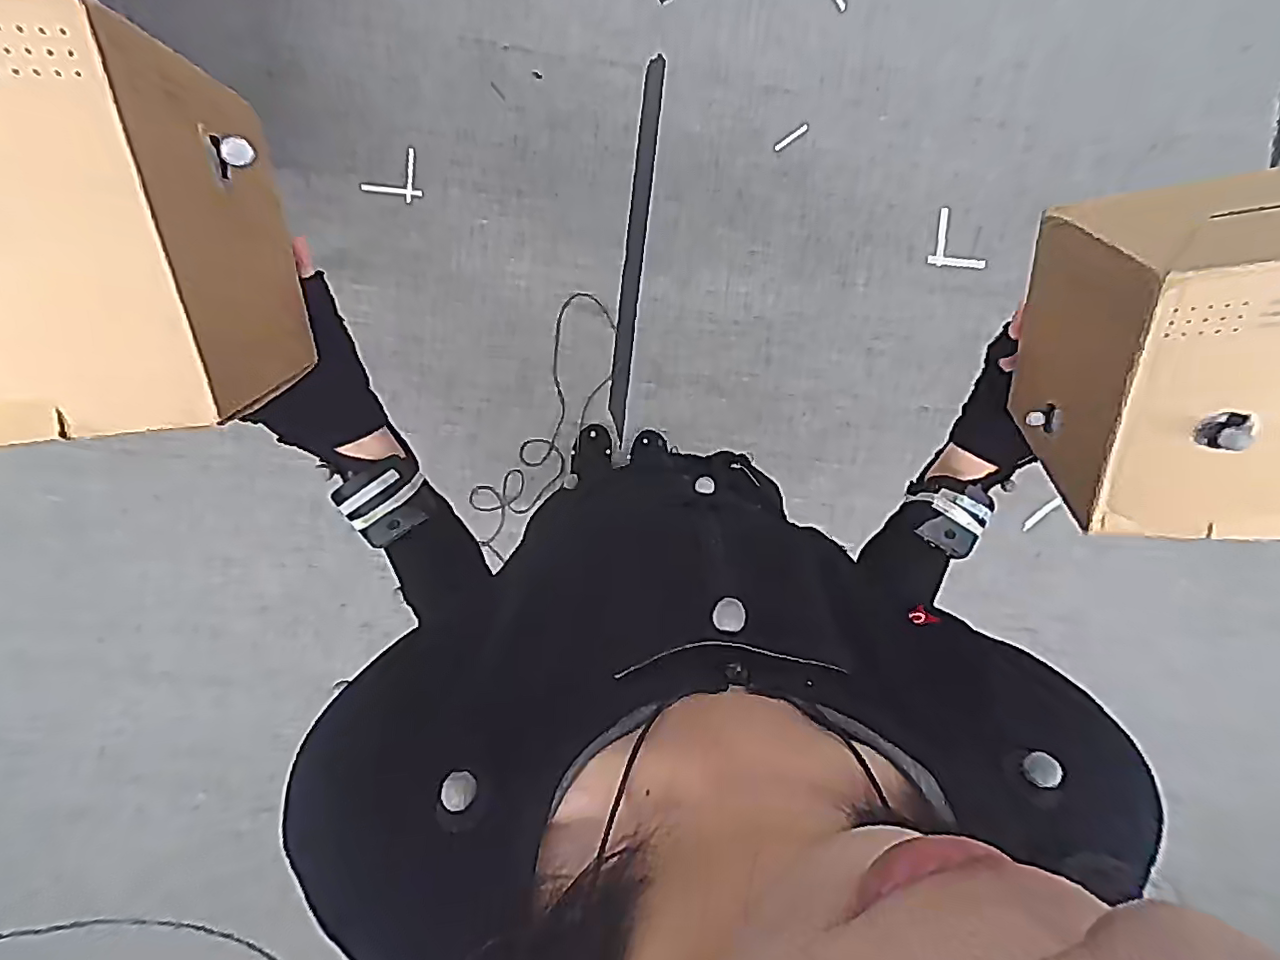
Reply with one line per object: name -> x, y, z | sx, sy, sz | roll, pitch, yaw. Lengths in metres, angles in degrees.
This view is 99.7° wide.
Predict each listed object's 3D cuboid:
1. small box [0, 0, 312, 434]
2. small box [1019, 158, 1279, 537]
small box -> -0.297, -0.125, 0.270 | 0.168, 0.179, 0.176 | -7, 114, -14
small box -> 0.360, -0.084, 0.324 | 0.168, 0.179, 0.176 | -1, 126, 18
